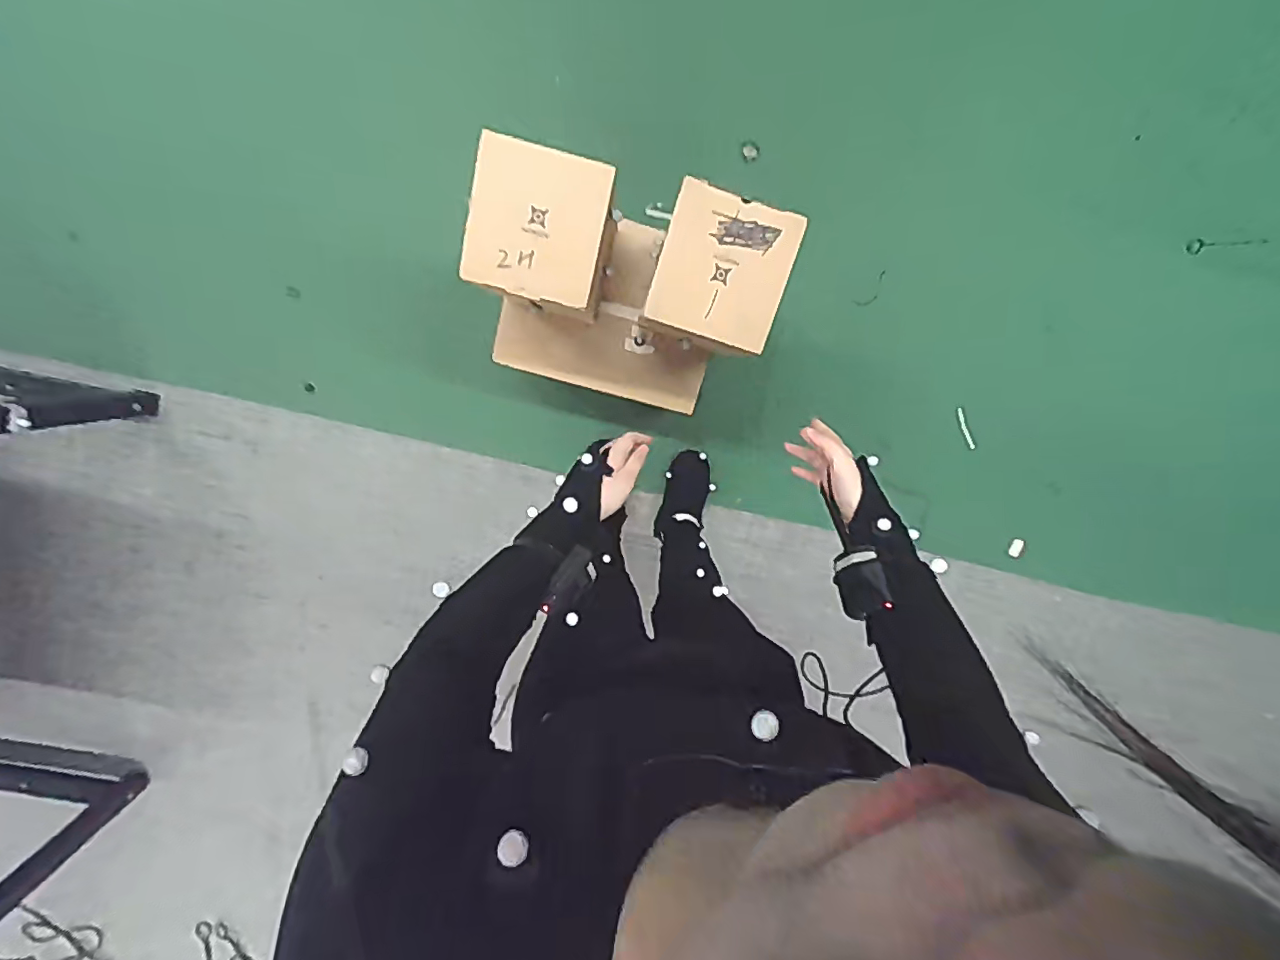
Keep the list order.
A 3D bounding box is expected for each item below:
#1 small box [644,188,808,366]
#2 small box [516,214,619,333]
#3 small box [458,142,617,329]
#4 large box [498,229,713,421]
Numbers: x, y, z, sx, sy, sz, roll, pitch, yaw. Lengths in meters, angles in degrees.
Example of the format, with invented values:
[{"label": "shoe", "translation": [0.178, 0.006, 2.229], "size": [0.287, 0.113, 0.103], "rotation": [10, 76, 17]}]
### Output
[{"label": "small box", "translation": [0.106, -0.268, 0.756], "size": [0.168, 0.176, 0.179], "rotation": [17, 102, -3]}, {"label": "small box", "translation": [-0.136, -0.356, 0.904], "size": [0.168, 0.176, 0.179], "rotation": [14, 101, -5]}, {"label": "small box", "translation": [-0.131, -0.318, 0.743], "size": [0.168, 0.176, 0.179], "rotation": [14, 101, -4]}, {"label": "large box", "translation": [-0.051, -0.333, 1.159], "size": [0.408, 0.320, 0.320], "rotation": [14, 102, -5]}]
